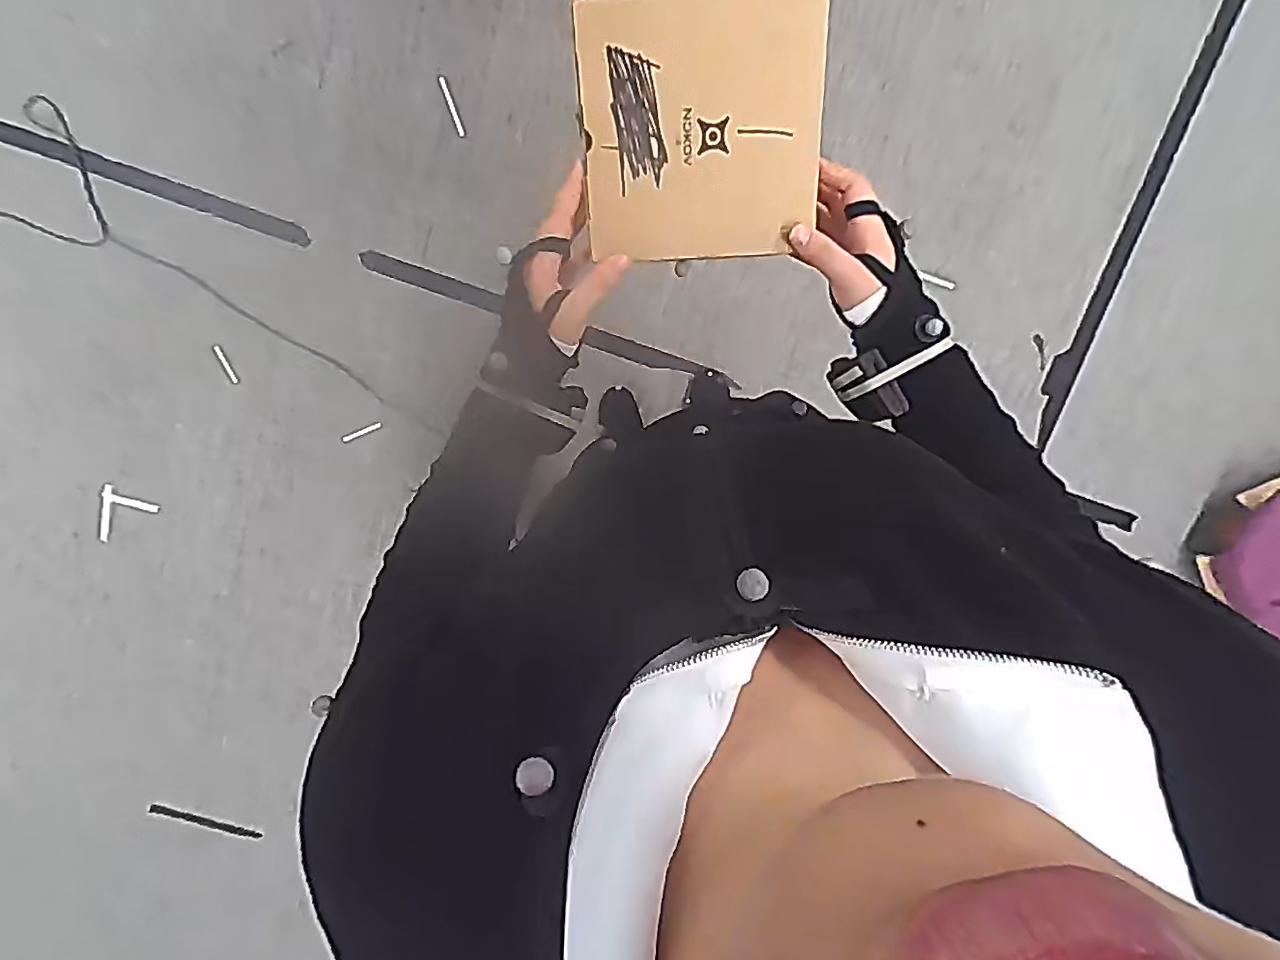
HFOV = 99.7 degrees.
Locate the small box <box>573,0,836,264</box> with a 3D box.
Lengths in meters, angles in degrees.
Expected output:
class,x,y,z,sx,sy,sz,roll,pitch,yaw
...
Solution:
class,x,y,z,sx,sy,sz,roll,pitch,yaw
small box,0.045,-0.275,0.456,0.179,0.176,0.168,-3,112,-1
